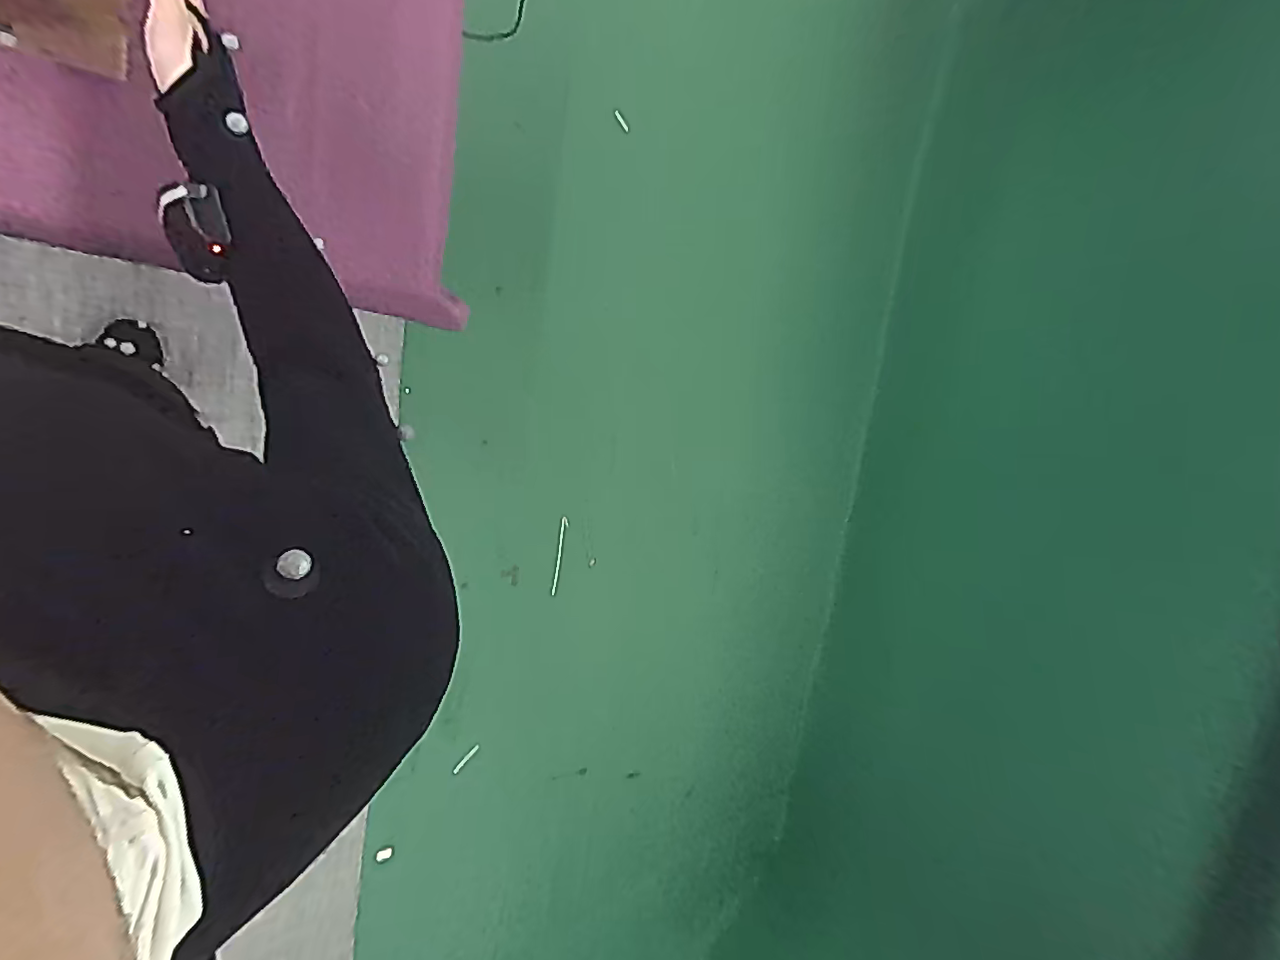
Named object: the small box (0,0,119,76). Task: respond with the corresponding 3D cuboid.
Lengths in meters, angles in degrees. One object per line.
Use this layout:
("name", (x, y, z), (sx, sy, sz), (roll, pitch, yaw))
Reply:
("small box", (-0.588, -0.514, 0.483), (0.168, 0.176, 0.179), (-5, 105, -43))
